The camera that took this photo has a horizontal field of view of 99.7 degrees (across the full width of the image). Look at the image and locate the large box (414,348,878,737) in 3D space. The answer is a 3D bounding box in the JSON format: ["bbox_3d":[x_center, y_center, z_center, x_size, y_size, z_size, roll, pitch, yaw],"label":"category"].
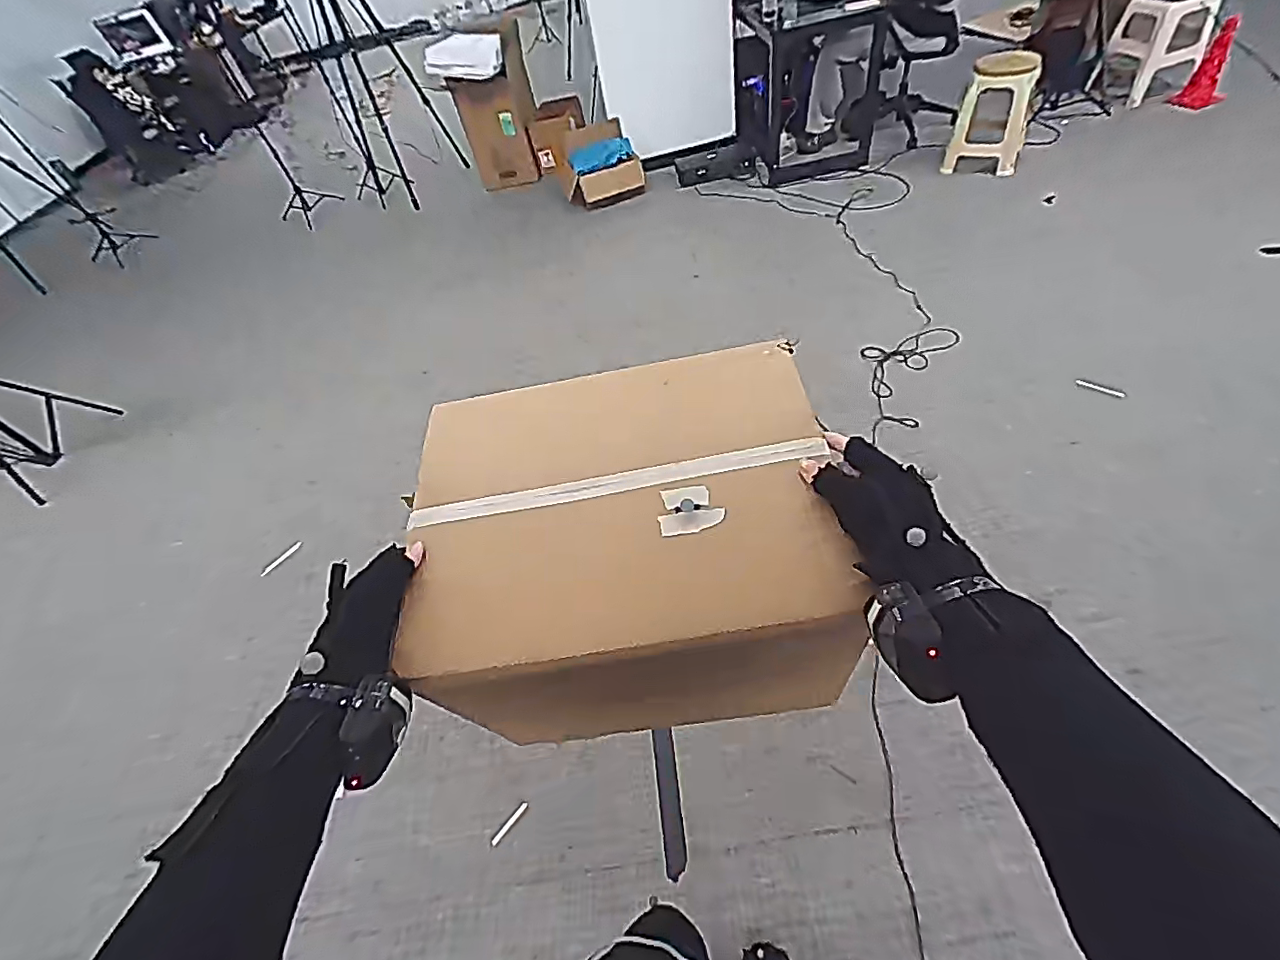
[{"bbox_3d":[0.006,0.091,0.654,0.408,0.320,0.320,-10,54,4],"label":"large box"}]
